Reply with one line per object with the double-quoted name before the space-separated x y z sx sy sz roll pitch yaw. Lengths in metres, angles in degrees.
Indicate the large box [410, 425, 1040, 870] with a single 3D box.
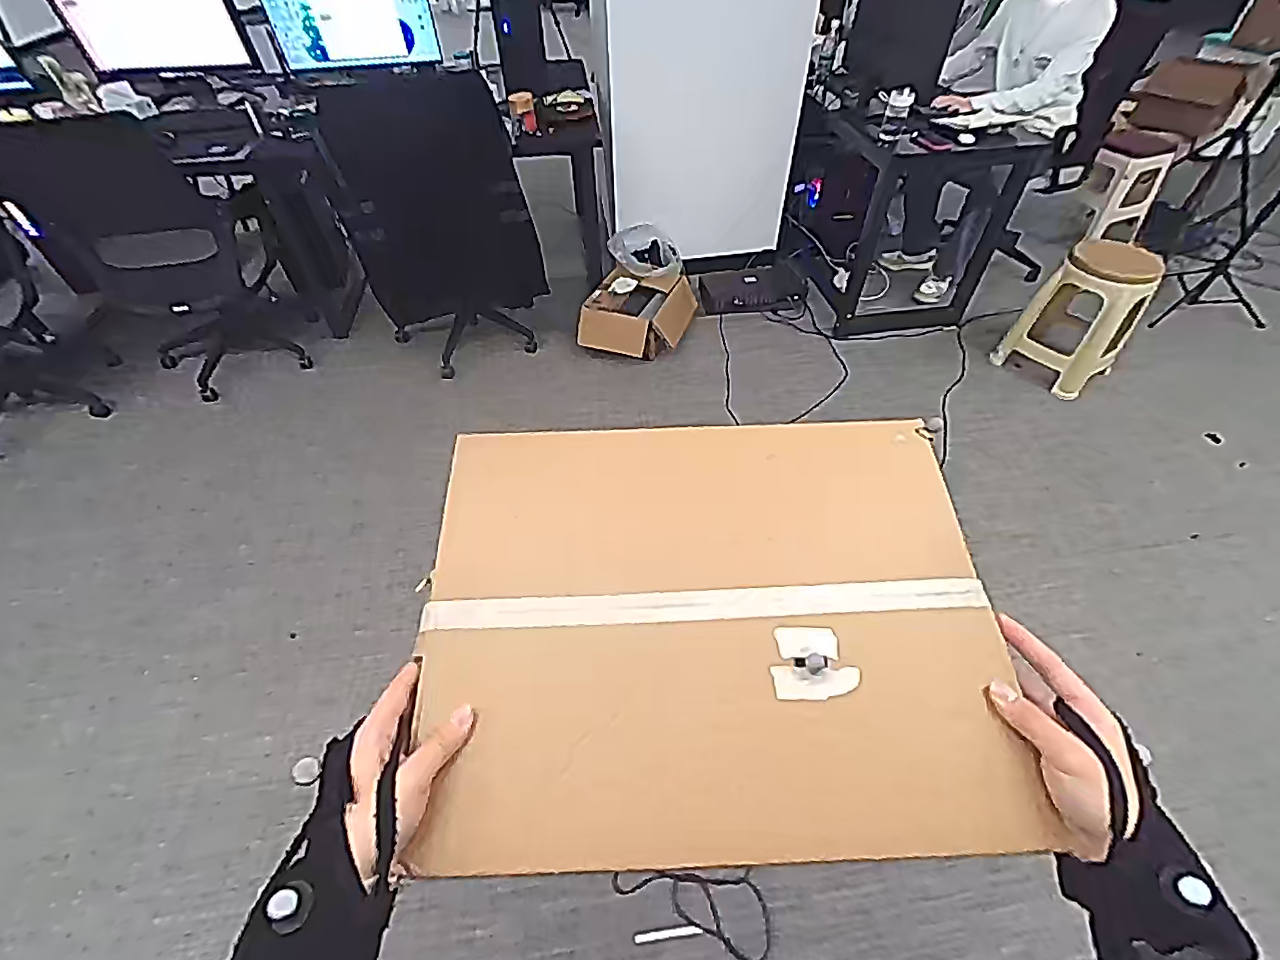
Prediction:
"large box" 0.047 0.165 0.535 0.408 0.320 0.320 -2 62 -1
